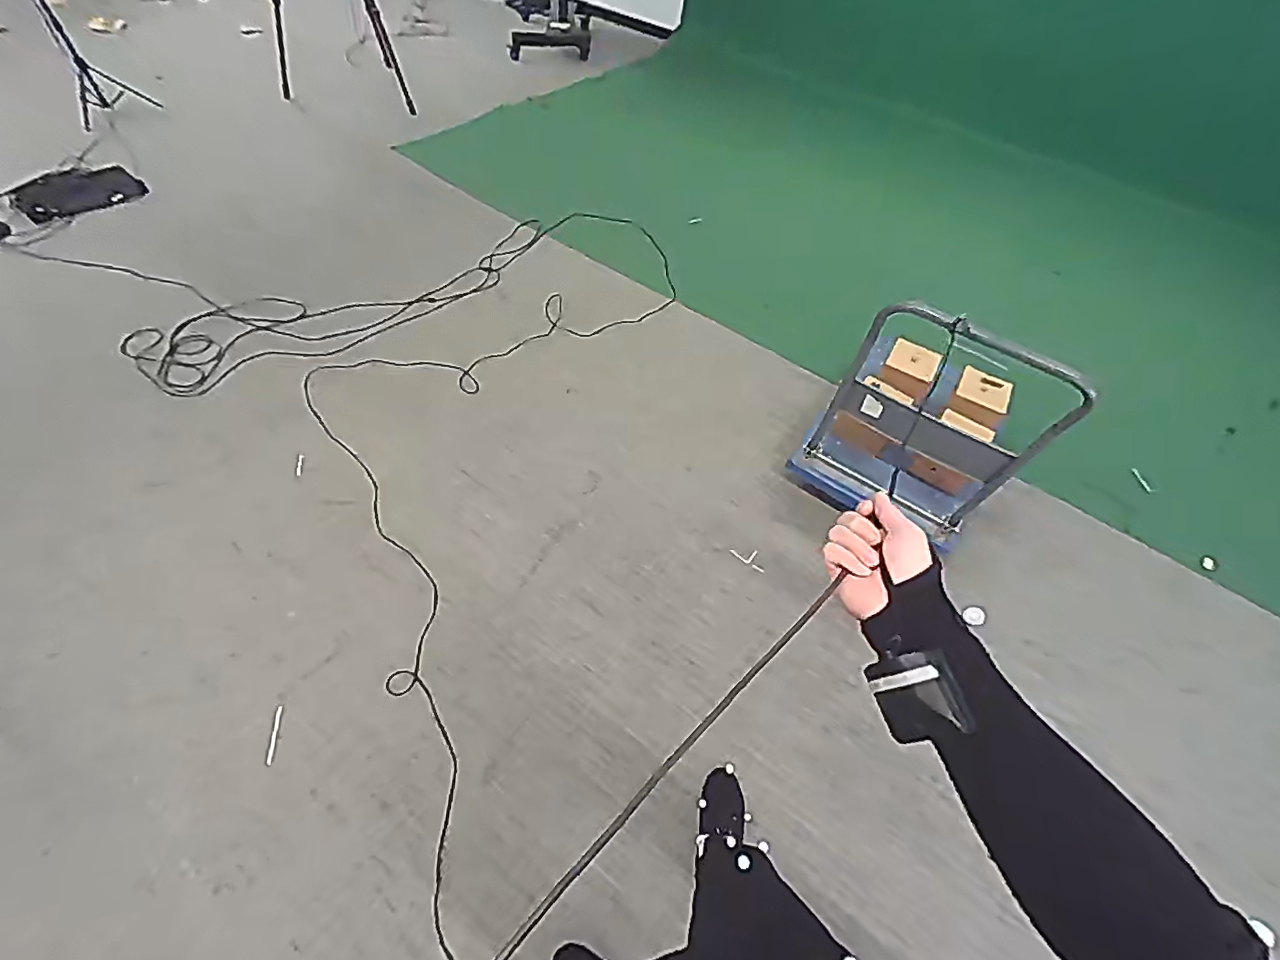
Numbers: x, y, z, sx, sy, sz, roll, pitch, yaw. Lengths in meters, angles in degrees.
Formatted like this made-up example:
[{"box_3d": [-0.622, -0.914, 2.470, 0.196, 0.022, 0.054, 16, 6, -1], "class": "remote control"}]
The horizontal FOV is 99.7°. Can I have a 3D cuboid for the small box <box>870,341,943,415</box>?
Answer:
[{"box_3d": [0.979, -0.374, 2.001, 0.168, 0.176, 0.179, 30, 57, 15], "class": "small box"}]

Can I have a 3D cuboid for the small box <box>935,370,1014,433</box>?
[{"box_3d": [1.192, -0.255, 1.936, 0.168, 0.176, 0.179, 29, 58, 16], "class": "small box"}]

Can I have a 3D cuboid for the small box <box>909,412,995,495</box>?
[{"box_3d": [1.032, -0.086, 1.800, 0.168, 0.176, 0.179, 34, 59, 17], "class": "small box"}]
